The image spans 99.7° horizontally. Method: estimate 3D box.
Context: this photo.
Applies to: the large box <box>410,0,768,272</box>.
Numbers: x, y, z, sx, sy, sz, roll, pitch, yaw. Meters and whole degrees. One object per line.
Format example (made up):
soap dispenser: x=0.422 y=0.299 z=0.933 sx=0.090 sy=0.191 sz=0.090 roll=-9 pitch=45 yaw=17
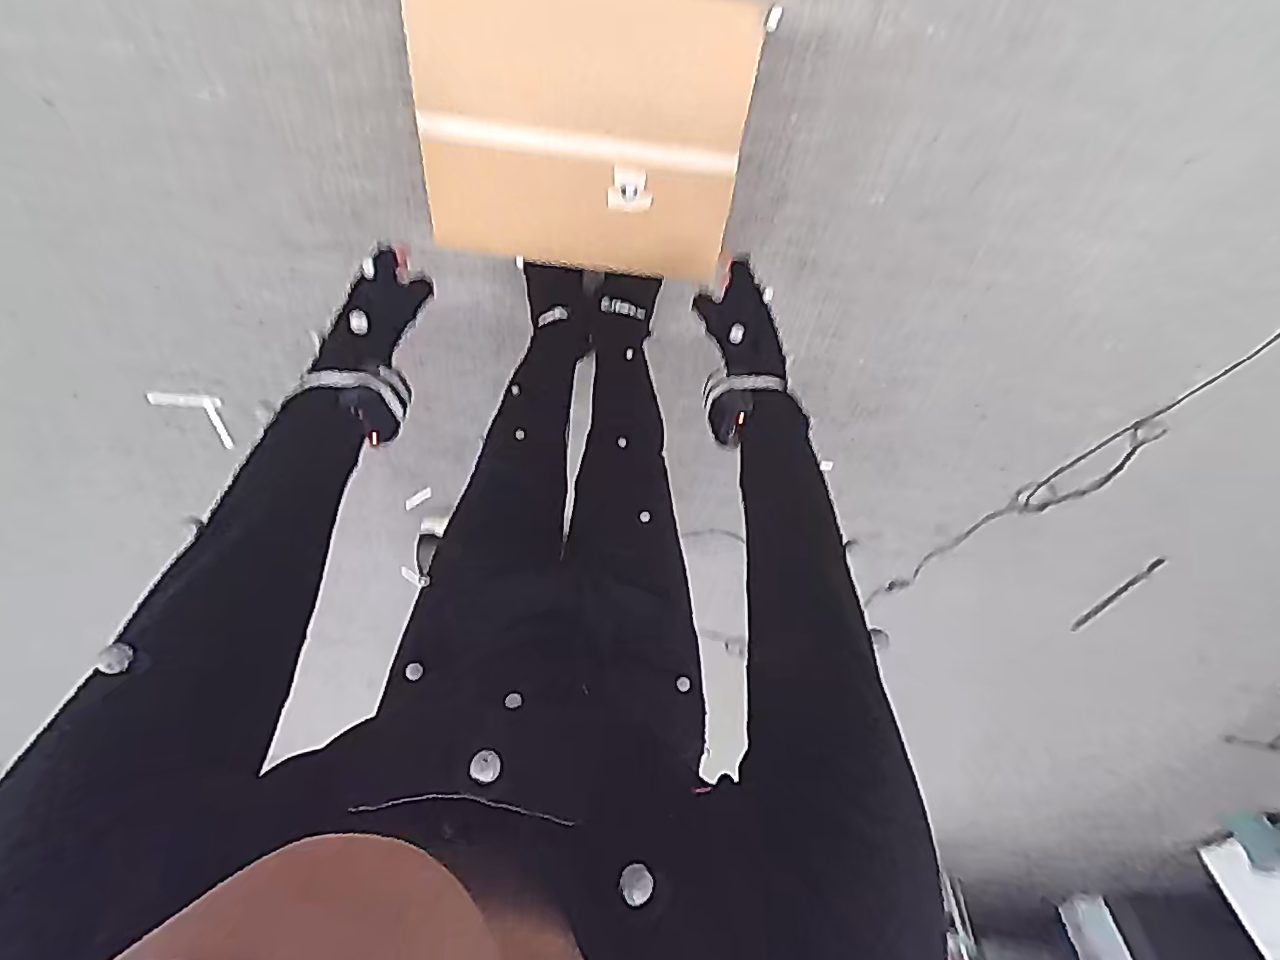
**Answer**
large box: x=-0.071 y=-0.533 z=0.797 sx=0.408 sy=0.320 sz=0.320 roll=5 pitch=133 yaw=-4
